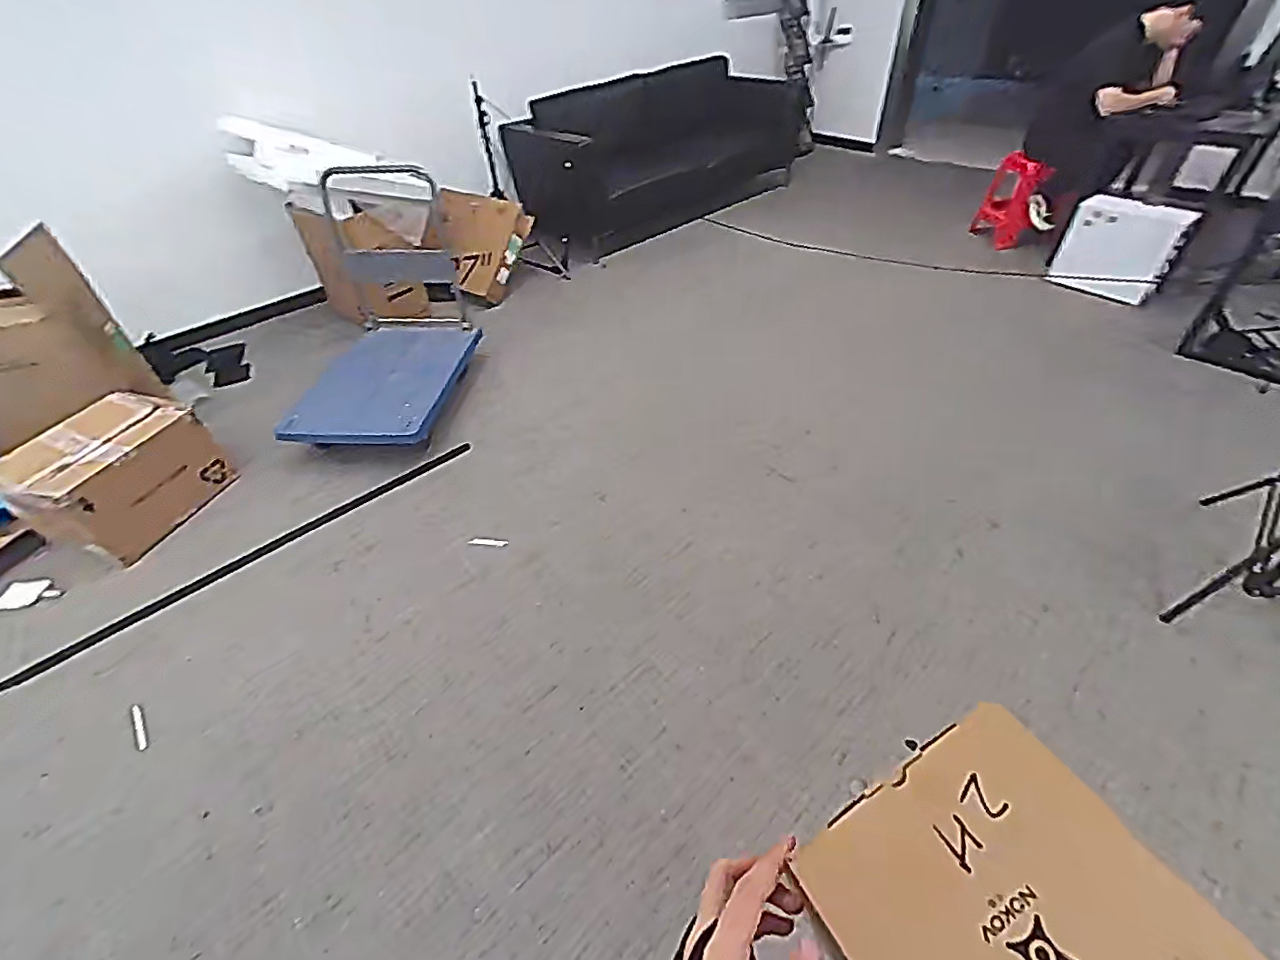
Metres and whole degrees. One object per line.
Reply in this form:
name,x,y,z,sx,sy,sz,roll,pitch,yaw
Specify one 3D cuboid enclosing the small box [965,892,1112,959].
small box,0.696,0.881,0.949,0.168,0.176,0.179,33,55,32
